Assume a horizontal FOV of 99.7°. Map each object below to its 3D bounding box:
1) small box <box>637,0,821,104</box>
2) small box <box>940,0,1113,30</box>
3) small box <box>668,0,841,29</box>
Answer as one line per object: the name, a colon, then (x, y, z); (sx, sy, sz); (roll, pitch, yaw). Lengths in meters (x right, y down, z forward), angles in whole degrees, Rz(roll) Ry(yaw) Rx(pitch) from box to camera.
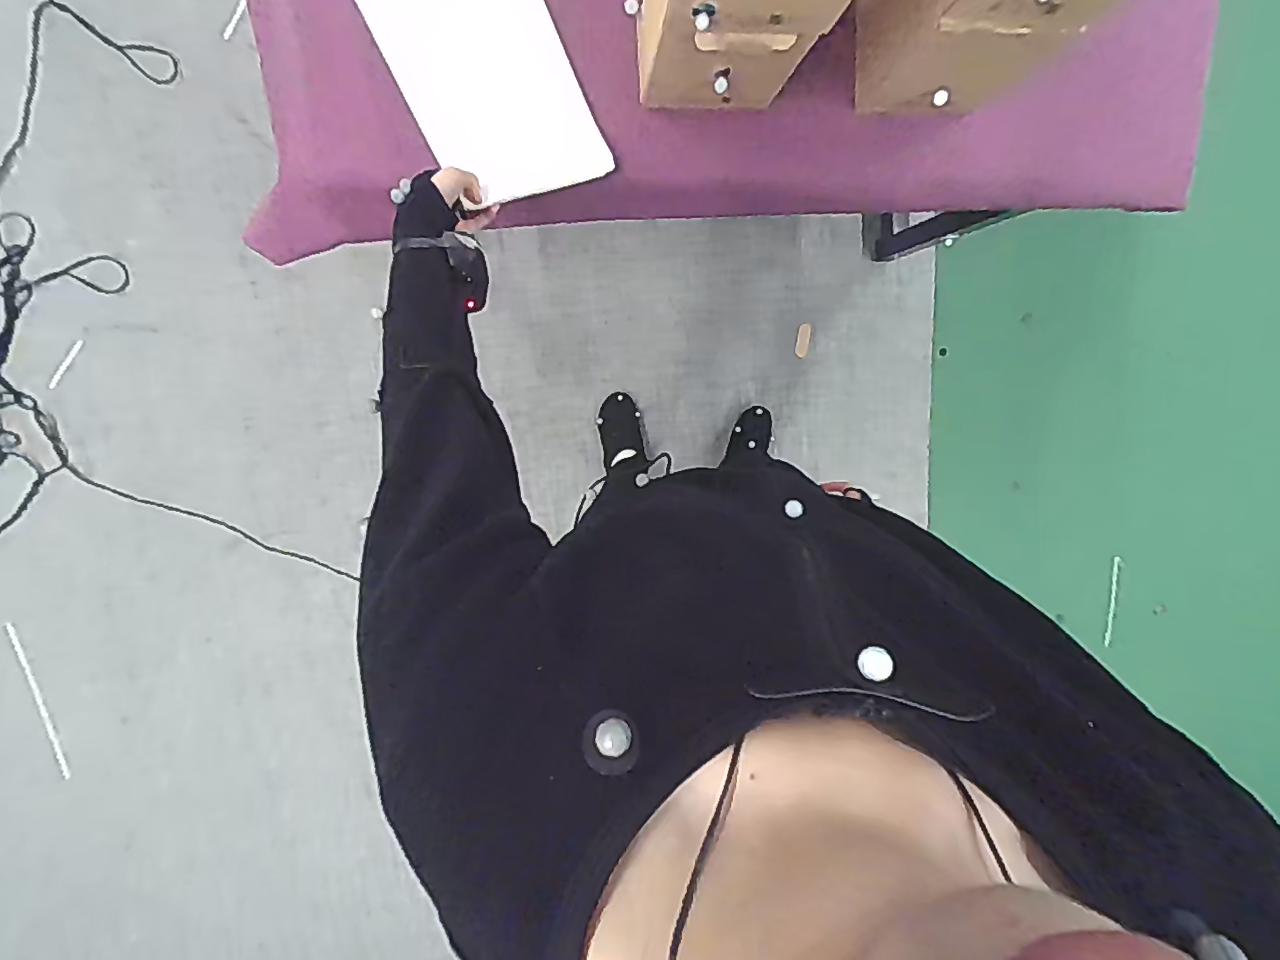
small box: (0.087, -0.537, 0.584); (0.168, 0.176, 0.179); (-4, 102, -6)
small box: (0.377, -0.529, 0.450); (0.168, 0.176, 0.179); (-4, 101, -6)
small box: (0.107, -0.500, 0.424); (0.168, 0.176, 0.179); (-4, 100, -6)
